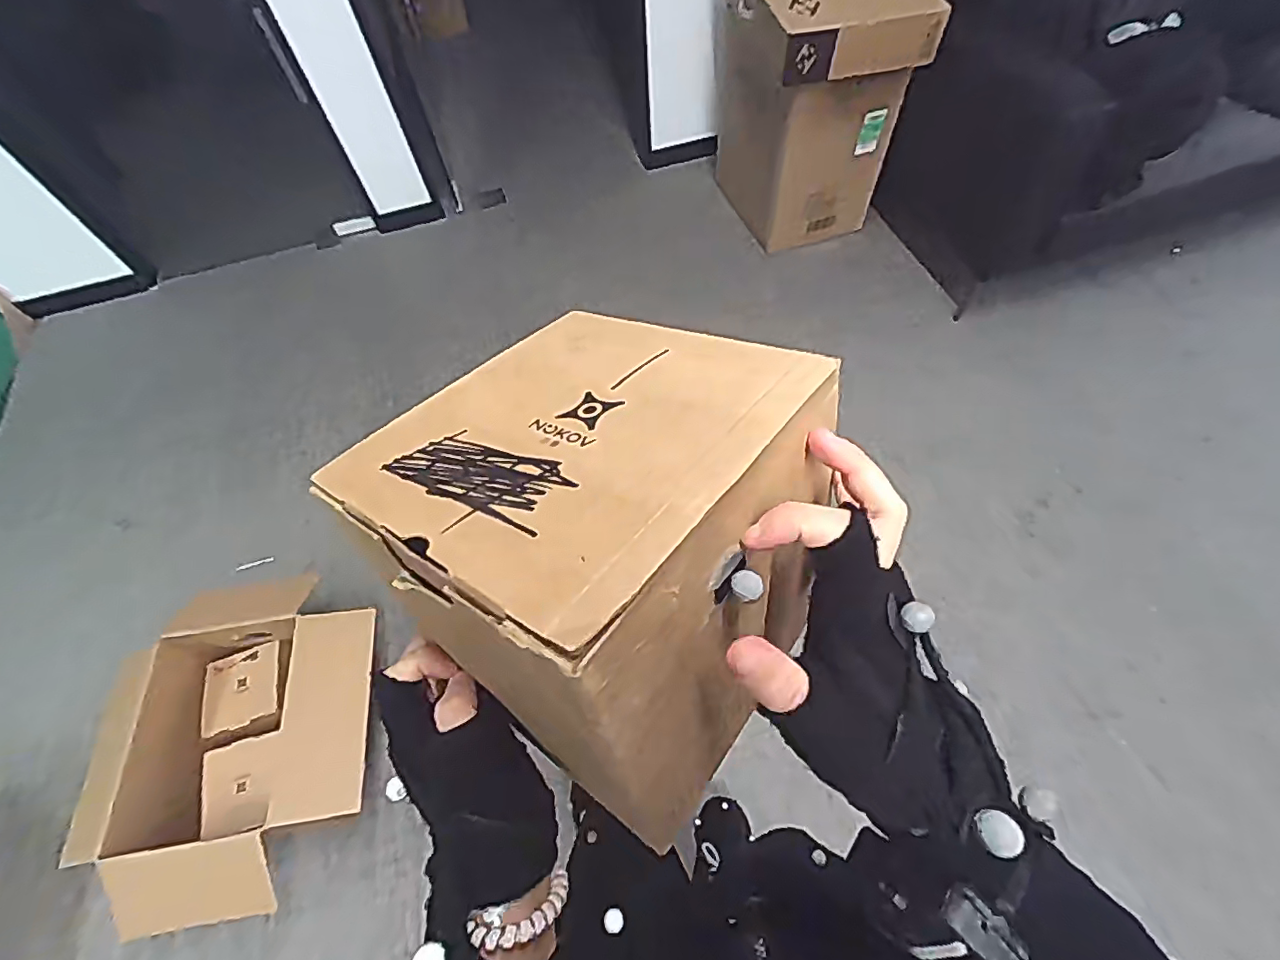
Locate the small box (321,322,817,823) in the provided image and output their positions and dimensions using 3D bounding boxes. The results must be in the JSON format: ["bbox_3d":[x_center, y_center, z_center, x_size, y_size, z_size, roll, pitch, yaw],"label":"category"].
[{"bbox_3d":[-0.017,0.039,0.293,0.168,0.176,0.179,22,51,34],"label":"small box"}]
